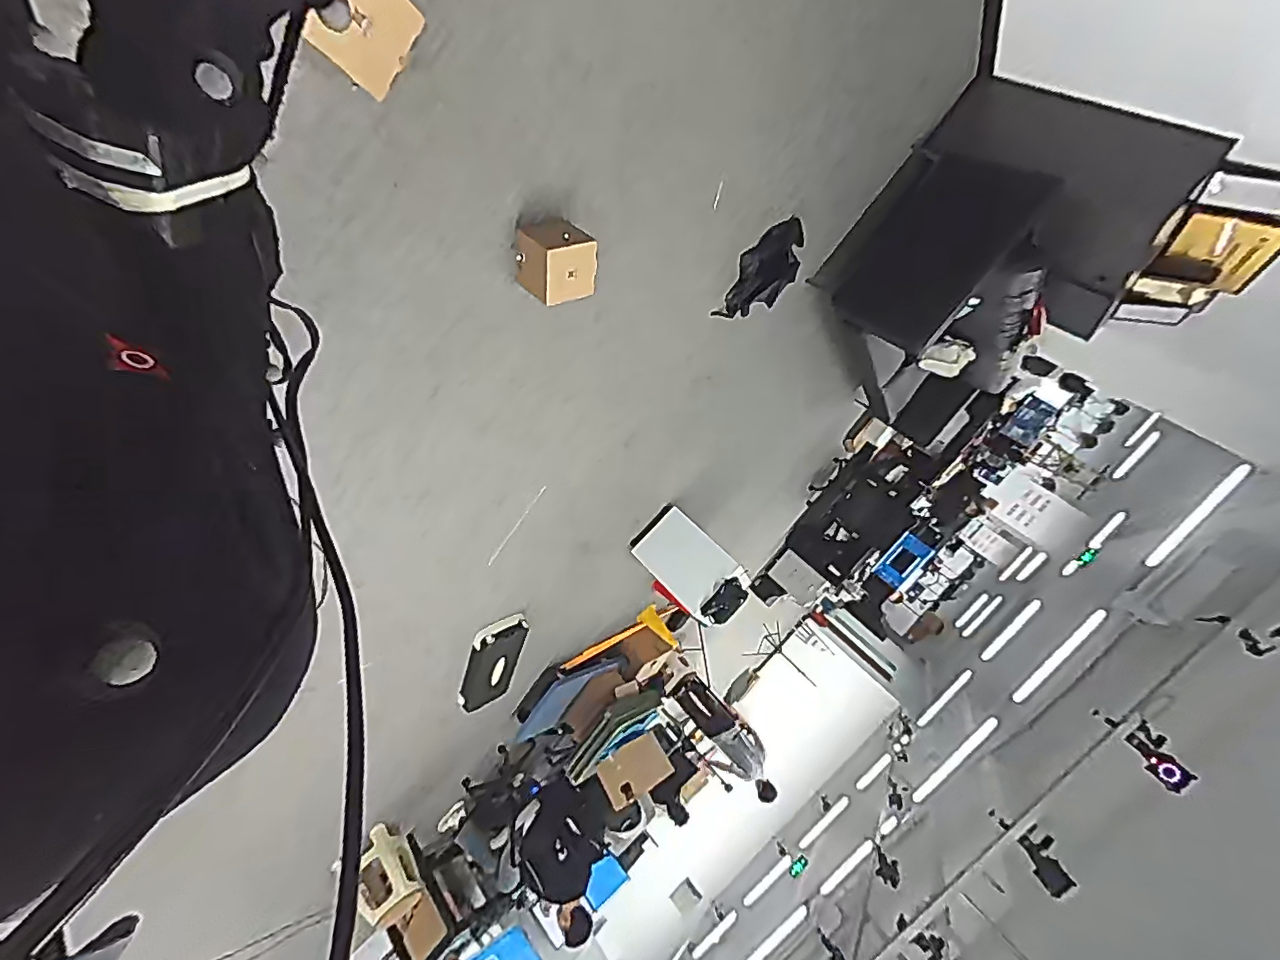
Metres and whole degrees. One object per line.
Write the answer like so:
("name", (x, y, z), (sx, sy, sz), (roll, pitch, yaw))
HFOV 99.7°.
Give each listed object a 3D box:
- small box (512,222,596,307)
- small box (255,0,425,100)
("small box", (-0.252, -0.635, 1.578), (0.179, 0.176, 0.168), (-28, 146, -32))
("small box", (-0.523, -0.817, 0.940), (0.168, 0.176, 0.179), (-53, 153, 11))
